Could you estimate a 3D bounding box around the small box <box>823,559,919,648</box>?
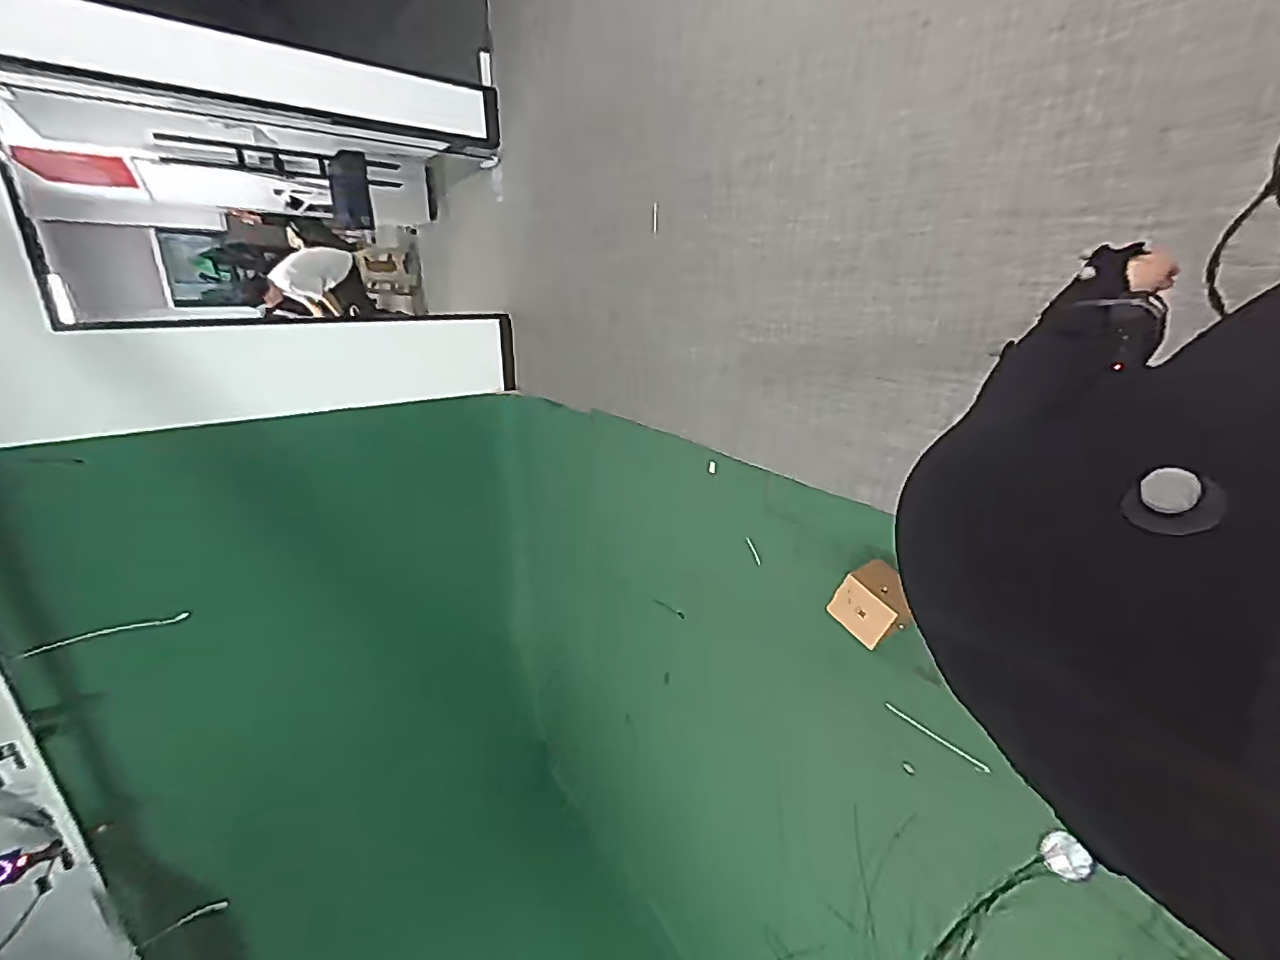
[{"bbox_3d":[0.700,0.364,1.632,0.179,0.176,0.168,46,134,36],"label":"small box"}]
